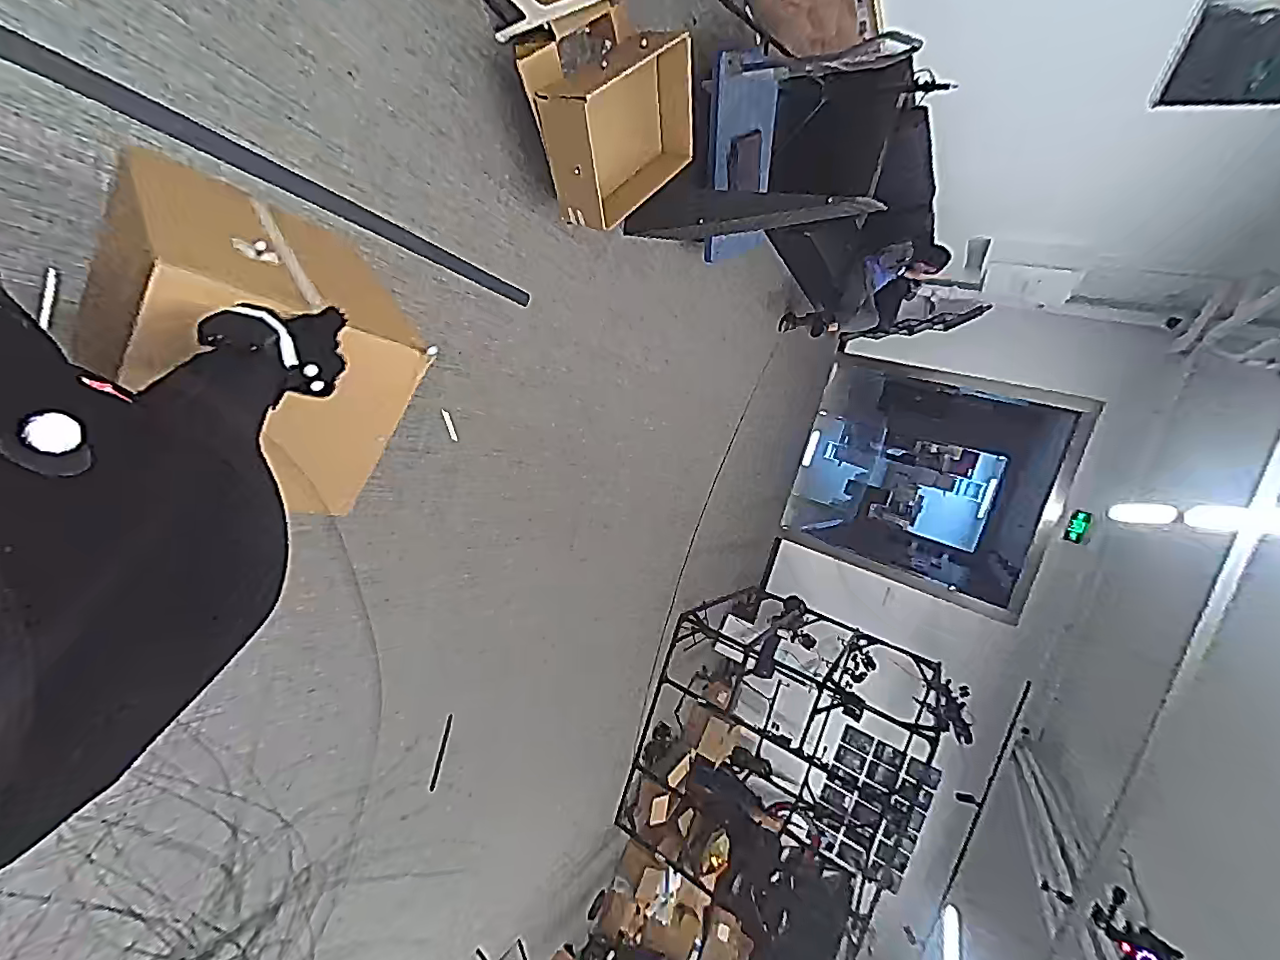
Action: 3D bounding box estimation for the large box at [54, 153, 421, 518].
[{"bbox_3d":[-0.609,-0.193,0.810,0.320,0.408,0.320,9,123,-54],"label":"large box"}]
